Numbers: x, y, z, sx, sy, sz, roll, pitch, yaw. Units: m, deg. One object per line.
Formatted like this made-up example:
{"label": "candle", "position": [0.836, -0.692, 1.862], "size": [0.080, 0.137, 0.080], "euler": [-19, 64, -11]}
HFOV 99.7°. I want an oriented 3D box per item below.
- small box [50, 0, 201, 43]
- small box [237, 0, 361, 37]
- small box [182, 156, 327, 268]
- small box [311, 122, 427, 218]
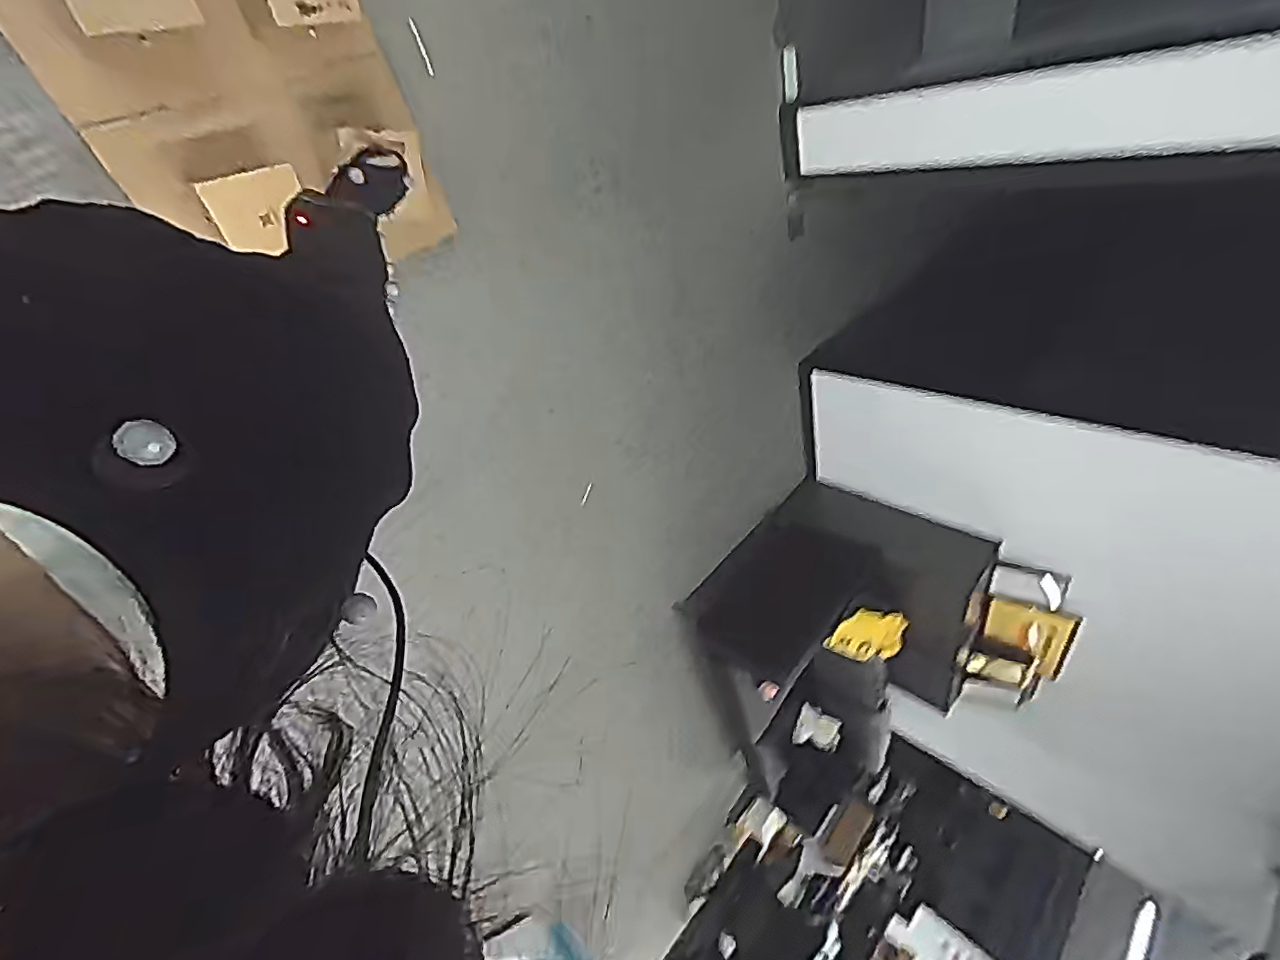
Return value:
{"label": "small box", "position": [-0.862, -0.825, 0.869], "size": [0.179, 0.176, 0.168], "euler": [-36, 133, -31]}
{"label": "small box", "position": [-0.668, -0.961, 1.013], "size": [0.168, 0.176, 0.179], "euler": [-35, 132, -32]}
{"label": "small box", "position": [-0.785, -0.543, 1.097], "size": [0.179, 0.176, 0.168], "euler": [-37, 134, -30]}
{"label": "small box", "position": [-0.608, -0.689, 1.213], "size": [0.168, 0.176, 0.179], "euler": [-26, 128, -37]}
